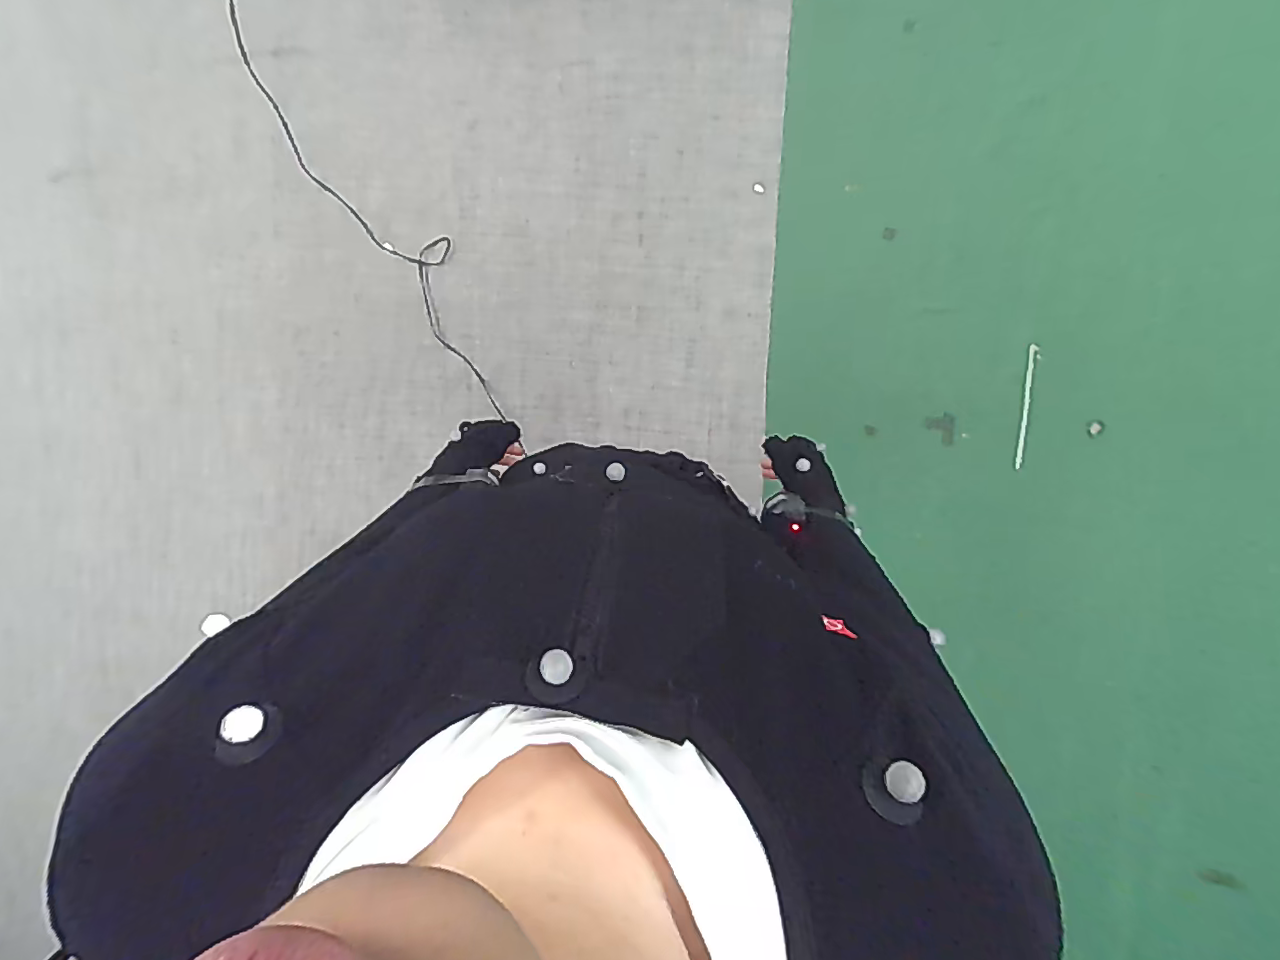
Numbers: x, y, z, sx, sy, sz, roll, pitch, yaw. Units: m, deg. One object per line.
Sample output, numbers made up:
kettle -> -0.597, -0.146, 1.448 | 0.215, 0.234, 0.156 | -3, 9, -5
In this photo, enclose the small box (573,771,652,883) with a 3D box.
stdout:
small box -> -0.067, 0.891, 1.410 | 0.168, 0.176, 0.179 | -13, 95, 4
